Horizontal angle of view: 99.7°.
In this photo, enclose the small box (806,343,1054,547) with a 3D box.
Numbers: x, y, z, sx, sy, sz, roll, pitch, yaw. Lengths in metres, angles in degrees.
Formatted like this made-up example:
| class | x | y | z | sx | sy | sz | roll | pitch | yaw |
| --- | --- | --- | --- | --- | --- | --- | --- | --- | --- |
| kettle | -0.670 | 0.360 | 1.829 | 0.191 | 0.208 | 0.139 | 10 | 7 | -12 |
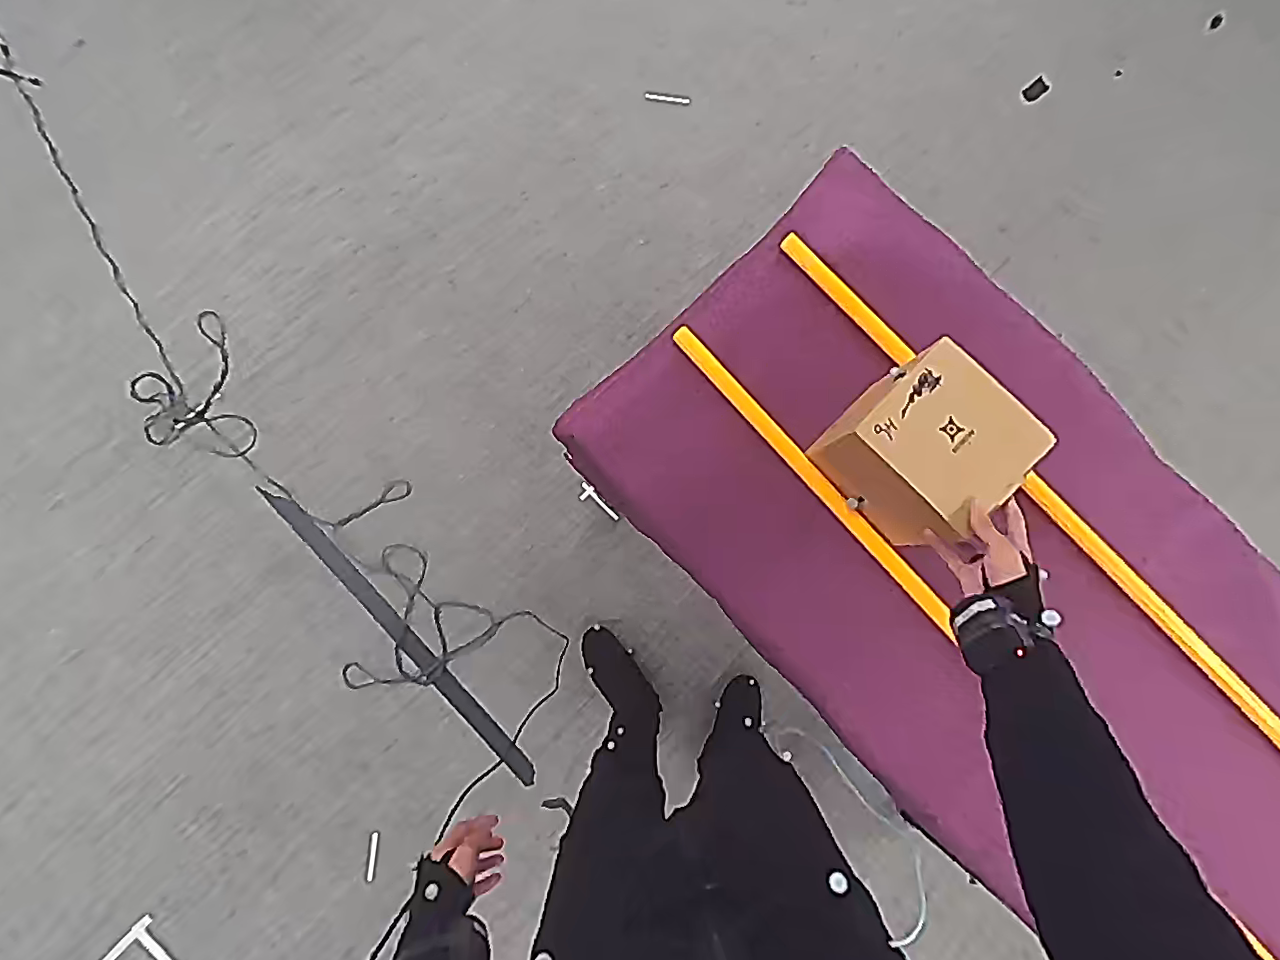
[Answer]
| class | x | y | z | sx | sy | sz | roll | pitch | yaw |
| --- | --- | --- | --- | --- | --- | --- | --- | --- | --- |
| small box | 0.347 | -0.034 | 0.682 | 0.168 | 0.176 | 0.179 | -43 | 87 | -8 |
